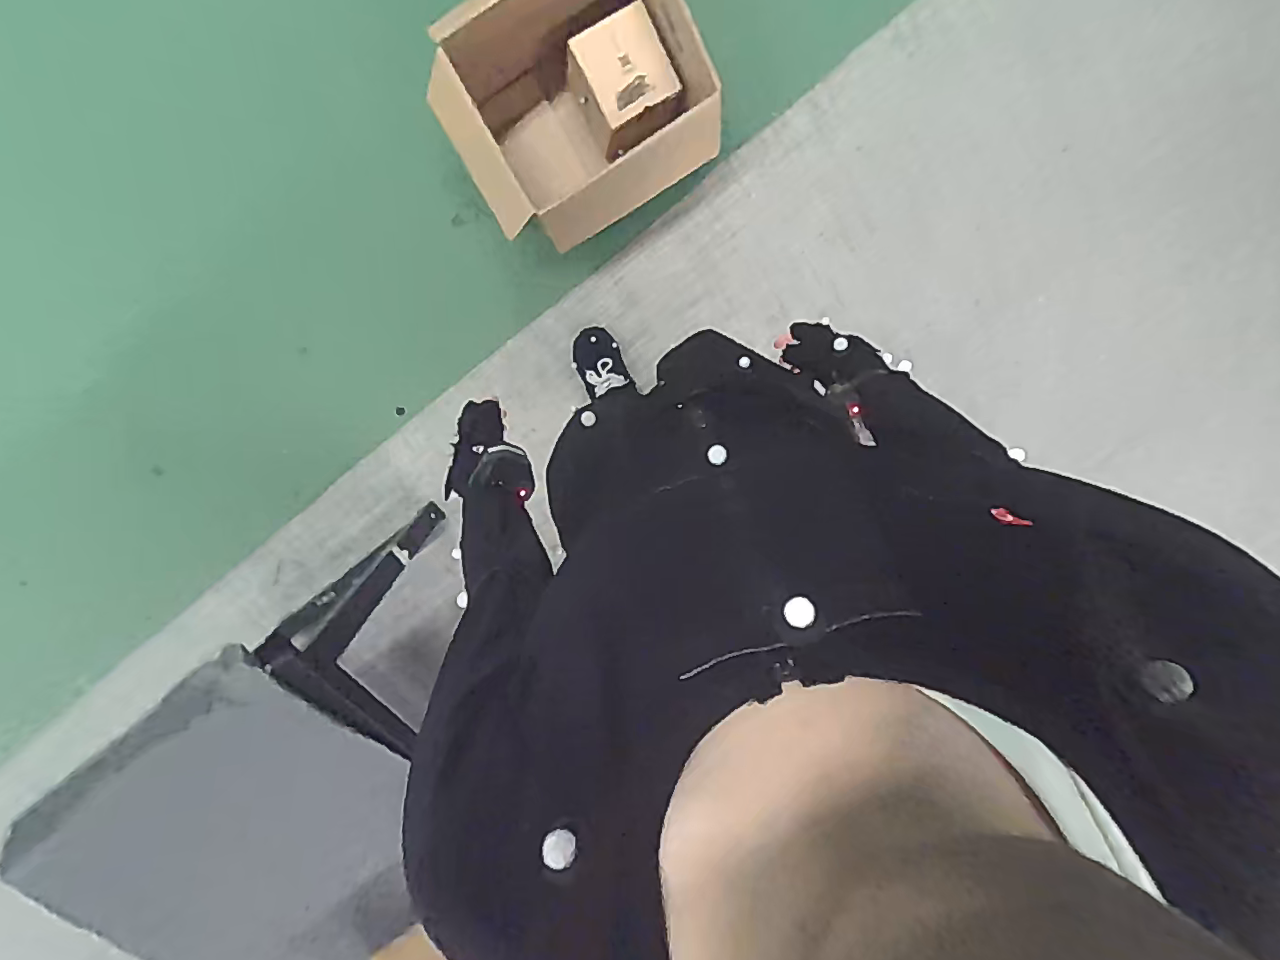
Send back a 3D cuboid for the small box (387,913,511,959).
[{"bbox_3d":[-0.328,0.855,0.861,0.179,0.176,0.168,-39,105,6],"label":"small box"}]
